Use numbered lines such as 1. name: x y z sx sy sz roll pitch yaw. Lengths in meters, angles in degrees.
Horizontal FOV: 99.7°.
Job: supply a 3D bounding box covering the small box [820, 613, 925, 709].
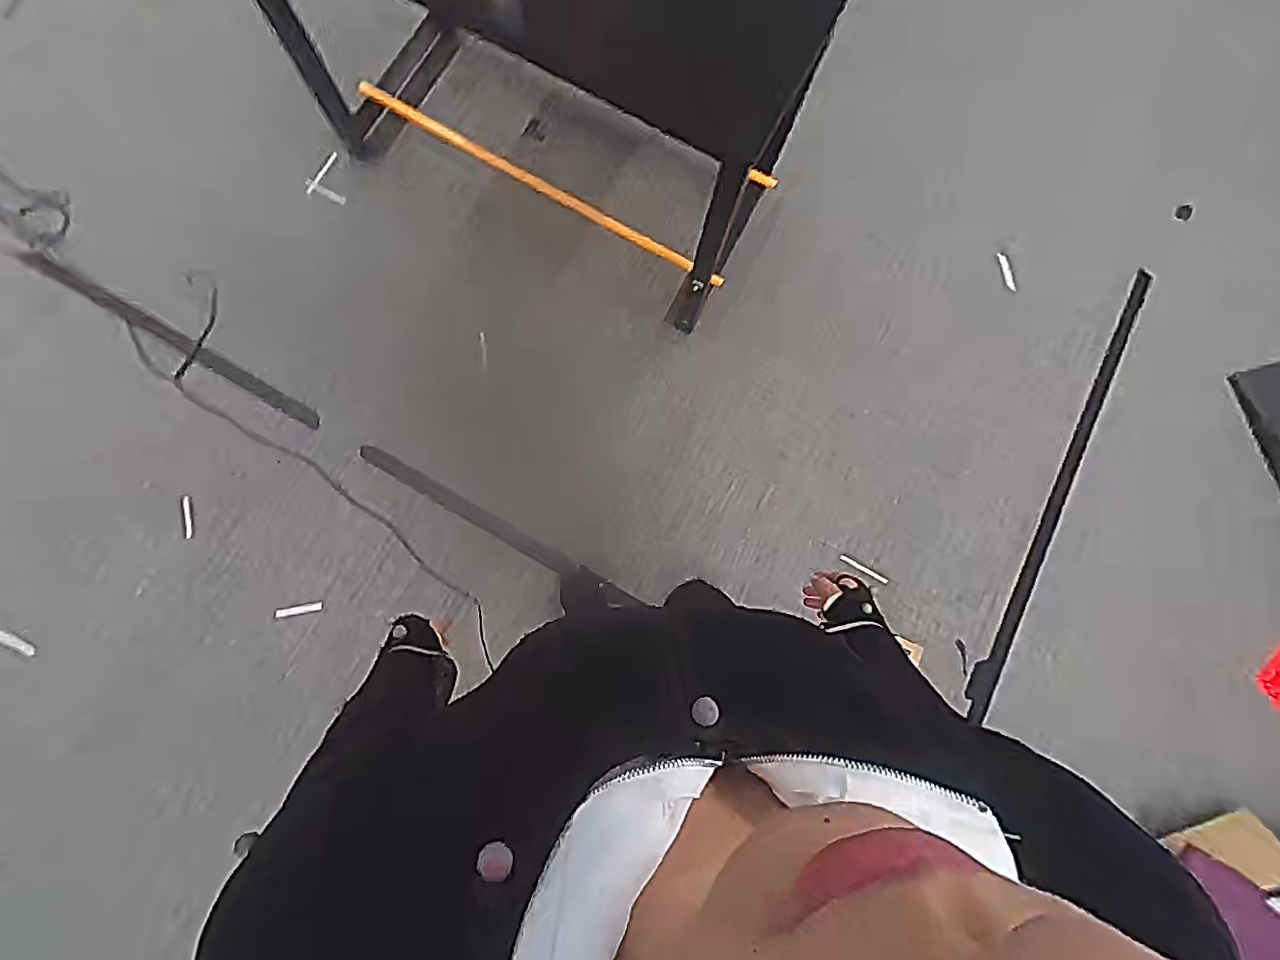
1. small box: 0.604 0.467 1.428 0.168 0.176 0.179 27 81 2
